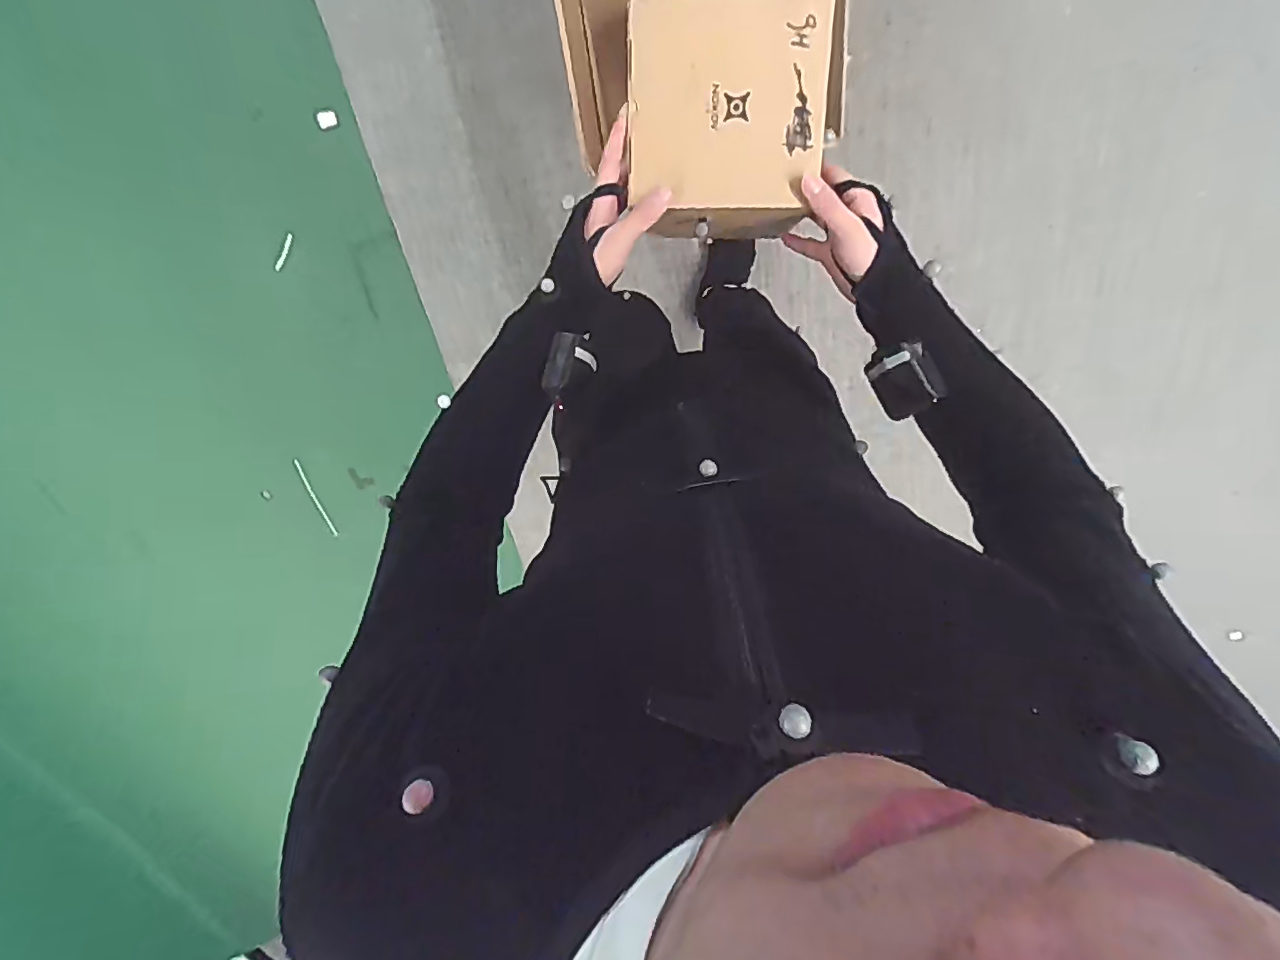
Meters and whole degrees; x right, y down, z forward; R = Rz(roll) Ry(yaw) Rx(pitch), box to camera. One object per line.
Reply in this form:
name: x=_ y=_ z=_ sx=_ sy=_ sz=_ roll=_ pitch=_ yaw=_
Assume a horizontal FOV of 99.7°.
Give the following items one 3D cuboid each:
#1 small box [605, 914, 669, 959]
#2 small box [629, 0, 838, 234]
small box: x=-0.009 y=1.433 z=1.618 sx=0.179 sy=0.176 sz=0.168 roll=-5 pitch=118 yaw=6
small box: x=0.083 y=-0.353 z=0.550 sx=0.179 sy=0.176 sz=0.168 roll=1 pitch=105 yaw=3
